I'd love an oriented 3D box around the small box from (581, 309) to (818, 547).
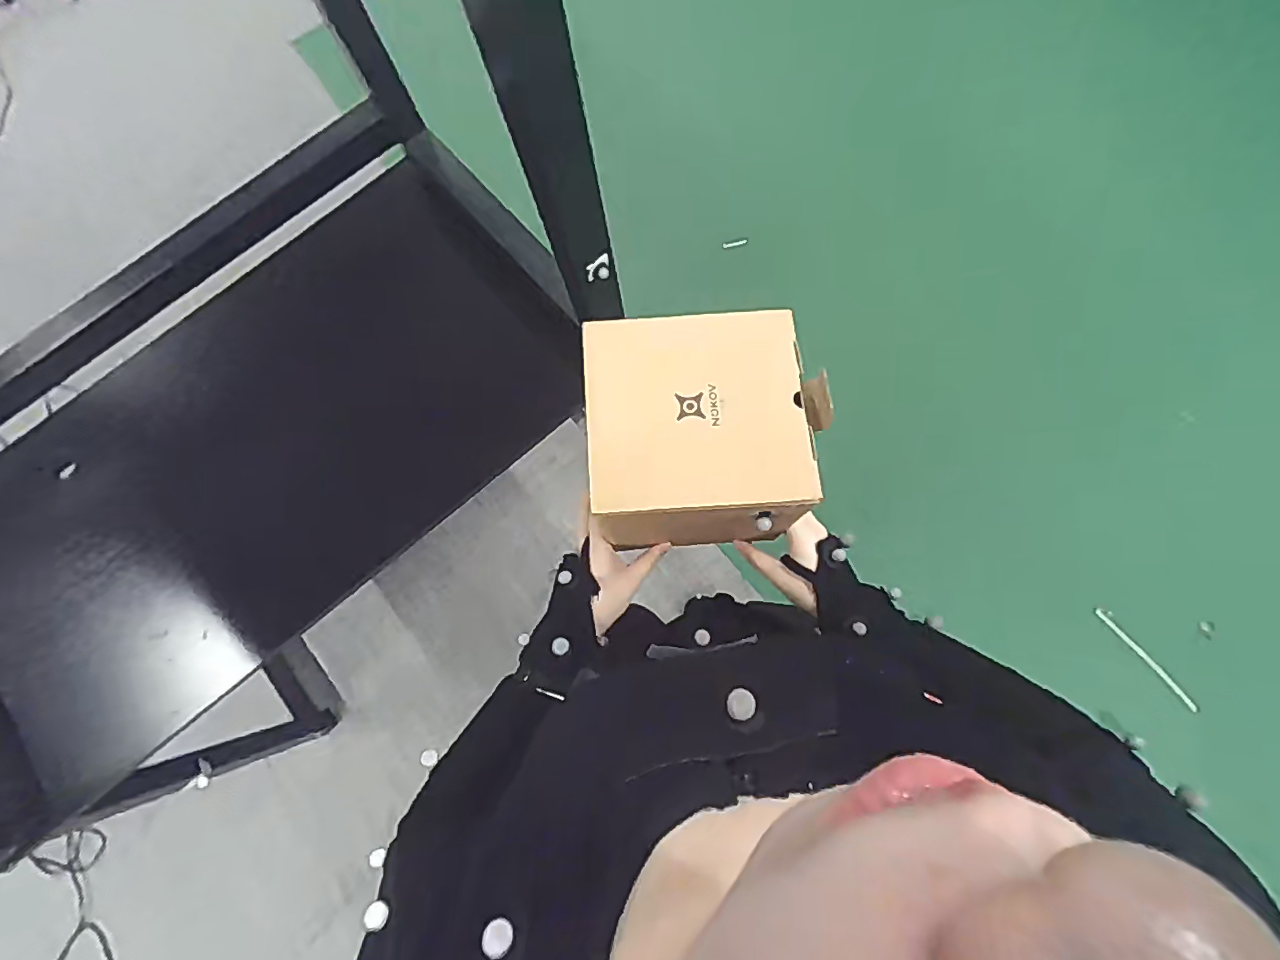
[{"bbox_3d":[0.044,-0.036,0.500,0.179,0.176,0.168,-4,73,-1],"label":"small box"}]
